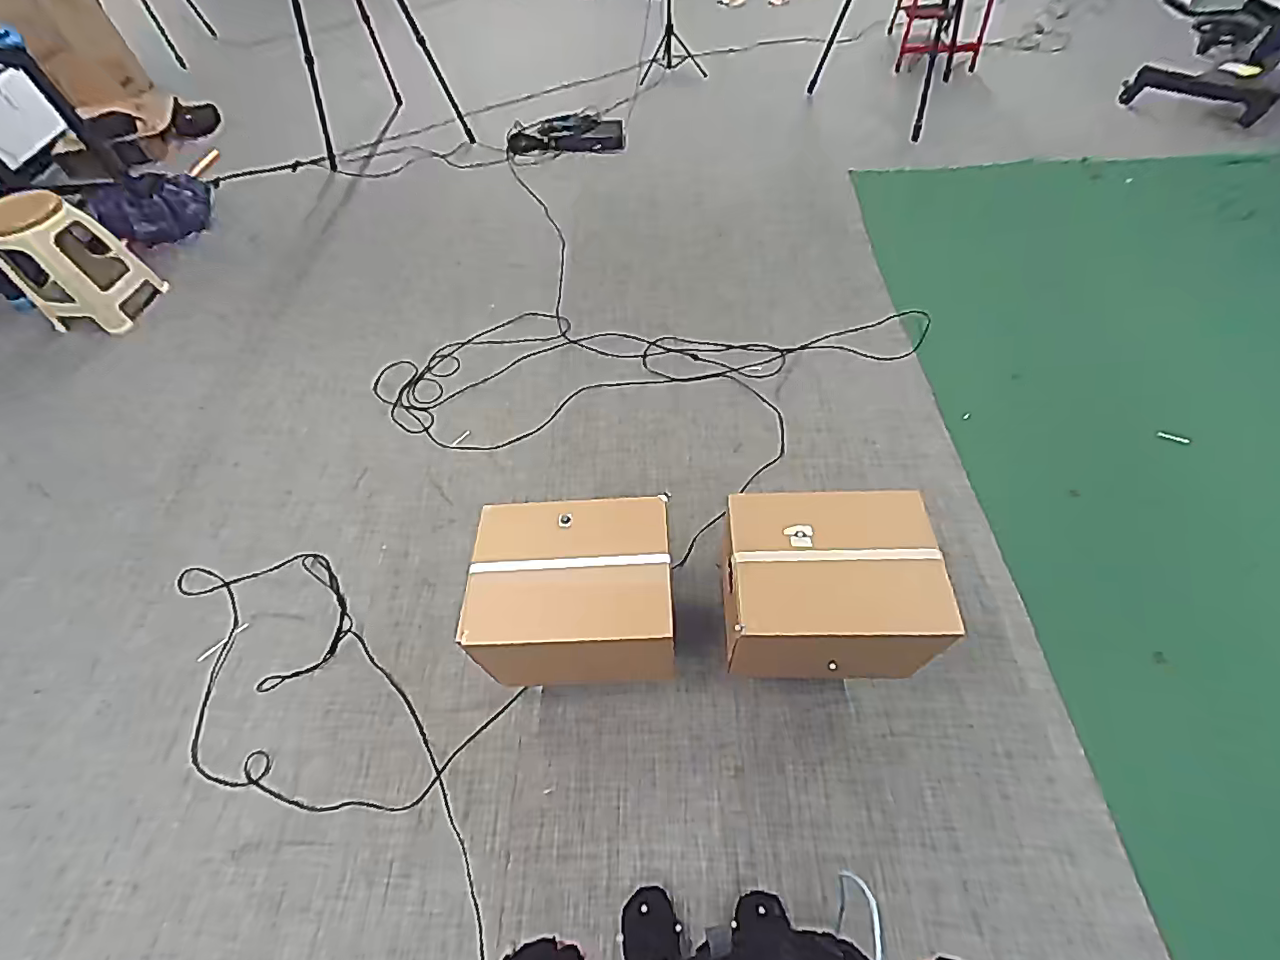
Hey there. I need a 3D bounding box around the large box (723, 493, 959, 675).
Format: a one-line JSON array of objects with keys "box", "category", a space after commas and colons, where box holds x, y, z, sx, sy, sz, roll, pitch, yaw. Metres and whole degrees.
[{"box": [0.405, 0.244, 1.209, 0.408, 0.320, 0.320, -1, 56, 4], "category": "large box"}]
